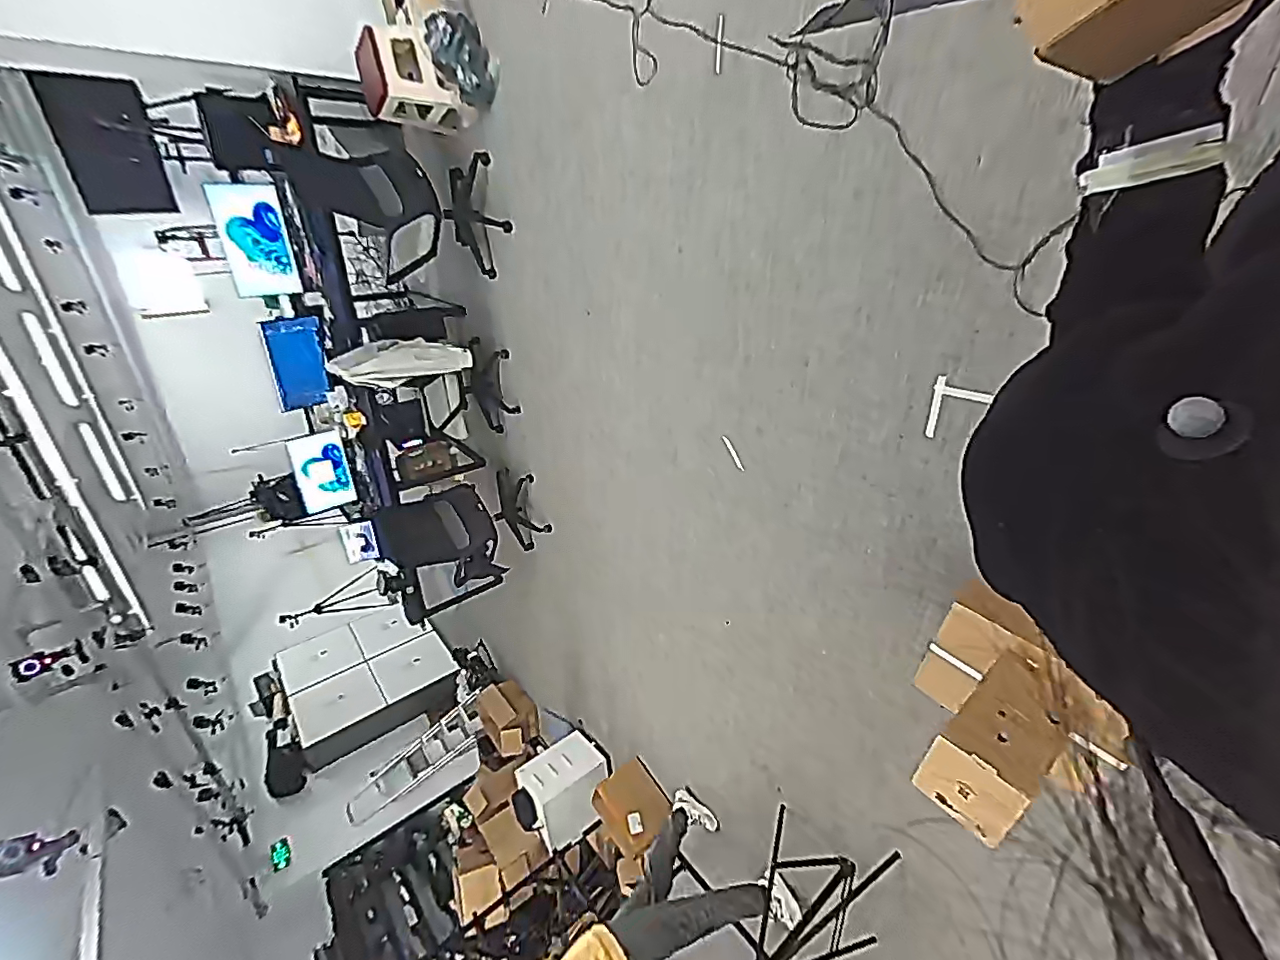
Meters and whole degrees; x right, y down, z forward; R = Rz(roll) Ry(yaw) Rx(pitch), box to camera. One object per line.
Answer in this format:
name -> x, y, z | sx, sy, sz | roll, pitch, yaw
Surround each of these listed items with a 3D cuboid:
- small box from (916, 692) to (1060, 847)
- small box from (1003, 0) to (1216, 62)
small box -> 0.691, 0.563, 1.072 | 0.168, 0.176, 0.179 | 35, 132, 40
small box -> 0.240, -0.311, 0.218 | 0.168, 0.176, 0.179 | -19, 96, 52
